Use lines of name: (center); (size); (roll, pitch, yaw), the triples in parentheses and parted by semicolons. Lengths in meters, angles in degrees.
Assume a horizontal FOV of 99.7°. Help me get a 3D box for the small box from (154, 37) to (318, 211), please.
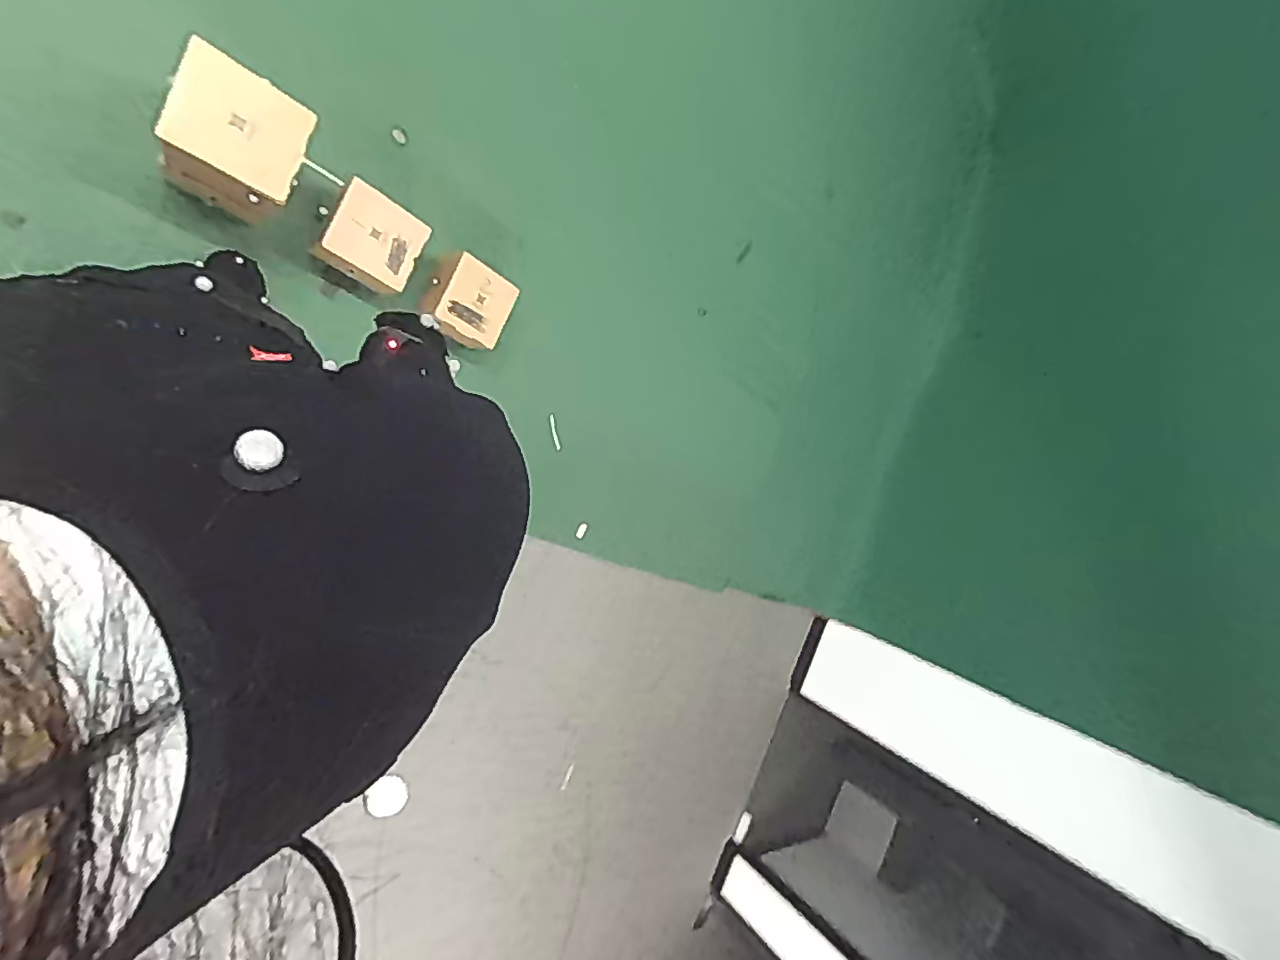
small box: (-0.690, -0.588, 0.926); (0.179, 0.176, 0.168); (22, 89, -42)

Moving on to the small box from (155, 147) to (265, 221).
small box: (-0.795, -0.628, 1.044); (0.168, 0.176, 0.179); (23, 90, -42)
